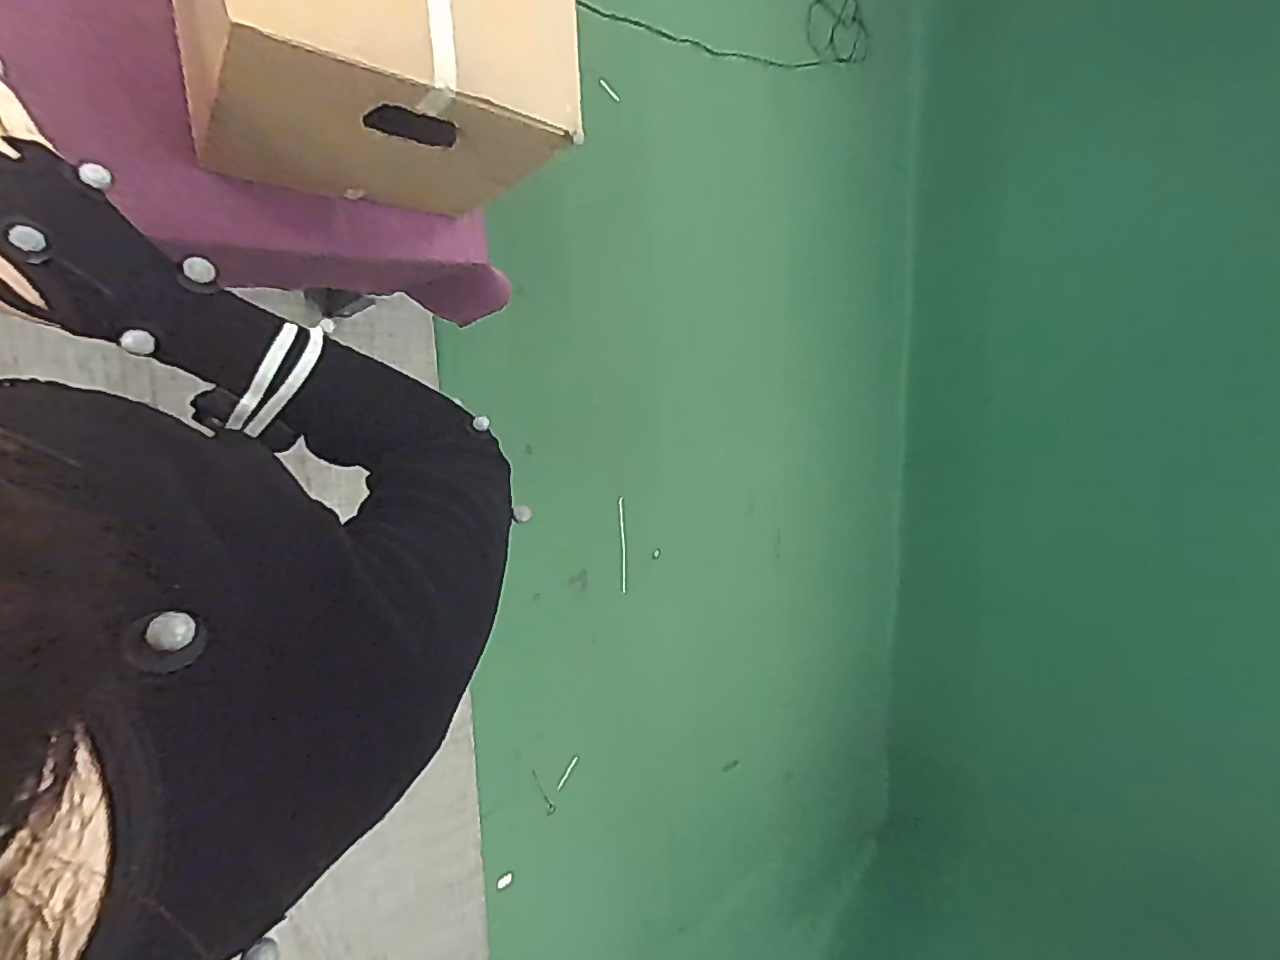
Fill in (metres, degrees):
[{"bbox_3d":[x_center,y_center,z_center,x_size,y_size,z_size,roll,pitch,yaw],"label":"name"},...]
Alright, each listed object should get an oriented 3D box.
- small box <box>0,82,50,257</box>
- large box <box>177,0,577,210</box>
[{"bbox_3d":[-0.467,-0.221,0.280,0.168,0.176,0.179,-32,116,-43],"label":"small box"},{"bbox_3d":[-0.292,-0.564,0.574,0.320,0.320,0.408,-11,103,-41],"label":"large box"}]
